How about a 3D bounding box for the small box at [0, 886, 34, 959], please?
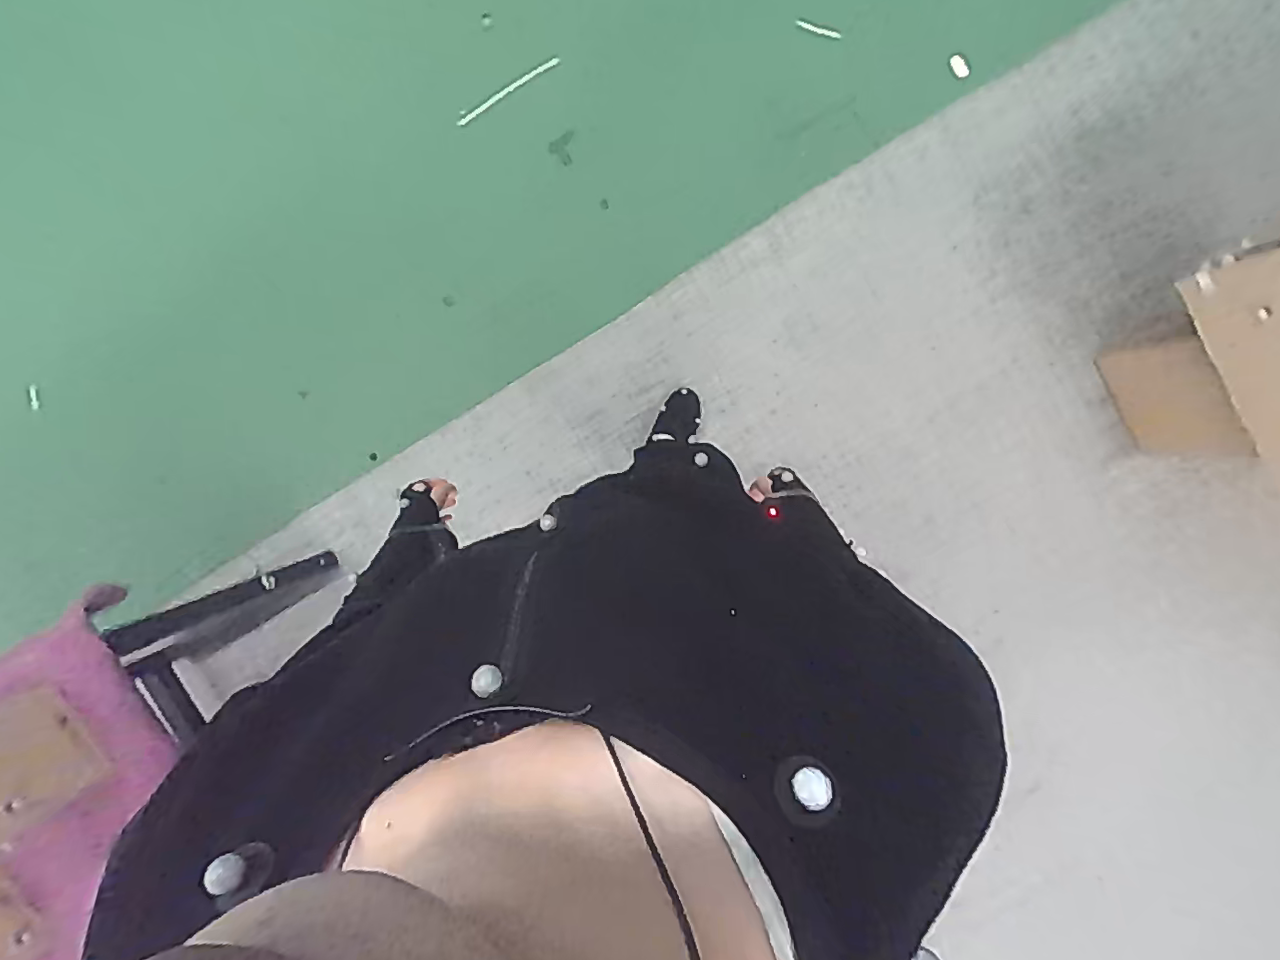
[{"bbox_3d":[-1.065,0.730,0.788,0.179,0.176,0.168,-32,93,5],"label":"small box"}]
